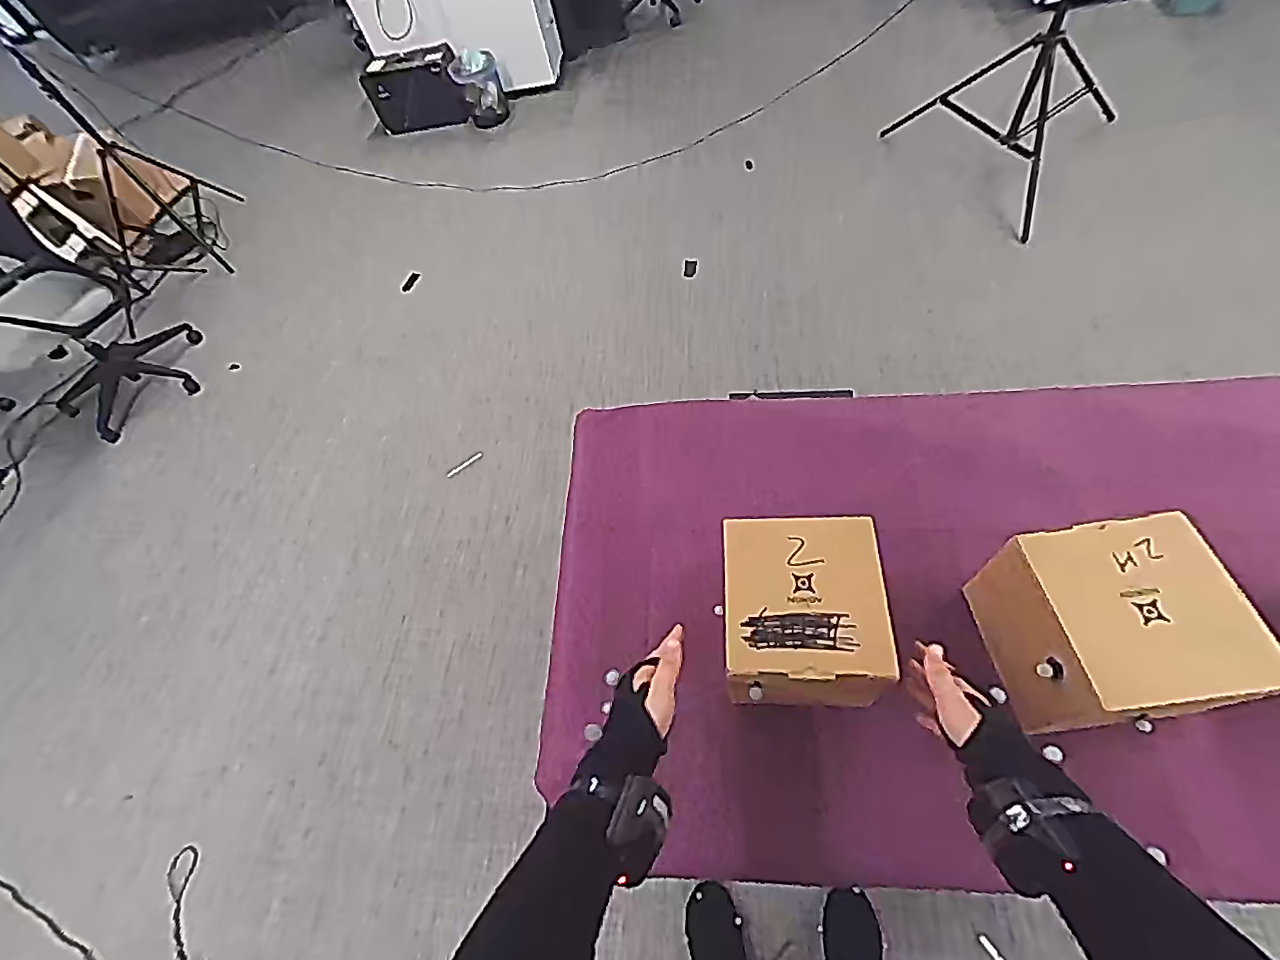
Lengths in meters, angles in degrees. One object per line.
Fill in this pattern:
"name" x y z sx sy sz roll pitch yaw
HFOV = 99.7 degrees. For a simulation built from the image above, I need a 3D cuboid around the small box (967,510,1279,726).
"small box" 0.491 0.157 0.578 0.168 0.176 0.179 -10 57 5
